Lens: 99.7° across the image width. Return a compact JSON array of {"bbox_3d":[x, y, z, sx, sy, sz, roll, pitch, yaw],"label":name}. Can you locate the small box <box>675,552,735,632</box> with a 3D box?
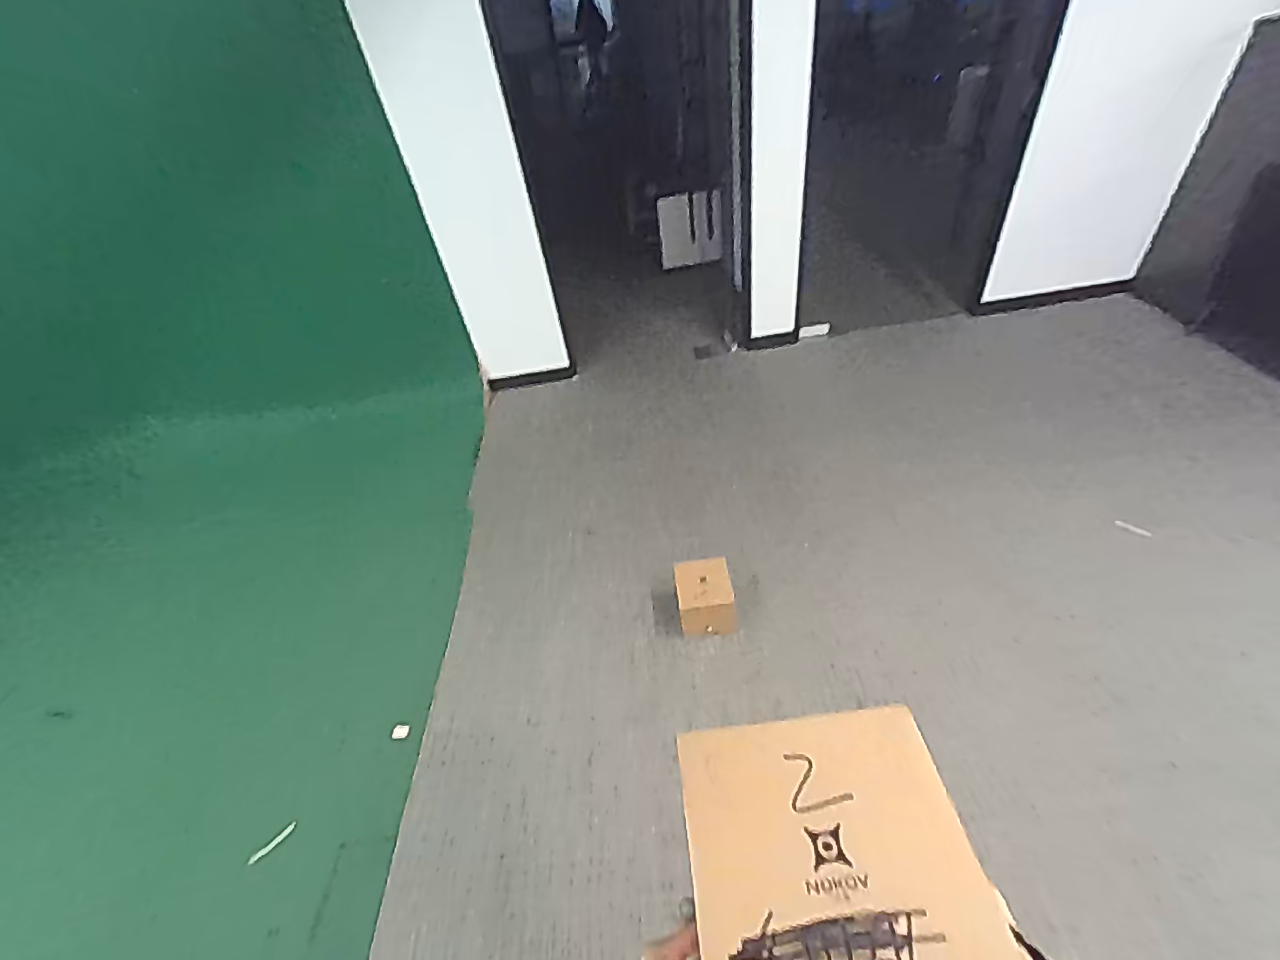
[{"bbox_3d":[0.201,0.352,1.689,0.168,0.176,0.179,-8,43,3],"label":"small box"}]
